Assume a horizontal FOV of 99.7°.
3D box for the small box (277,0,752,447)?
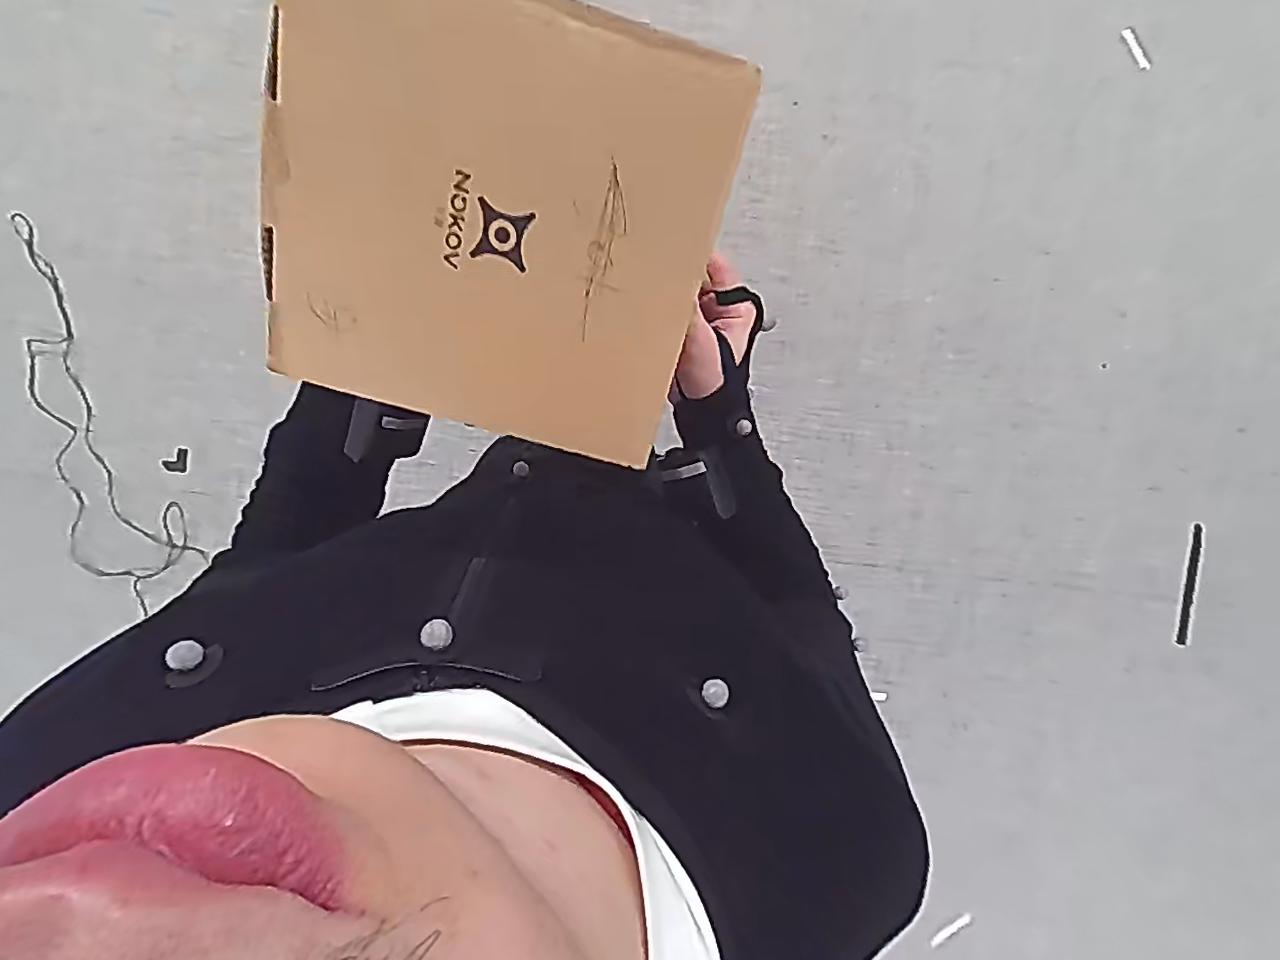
[{"bbox_3d":[-0.062,-0.138,0.304,0.179,0.176,0.168,14,111,-8],"label":"small box"}]
